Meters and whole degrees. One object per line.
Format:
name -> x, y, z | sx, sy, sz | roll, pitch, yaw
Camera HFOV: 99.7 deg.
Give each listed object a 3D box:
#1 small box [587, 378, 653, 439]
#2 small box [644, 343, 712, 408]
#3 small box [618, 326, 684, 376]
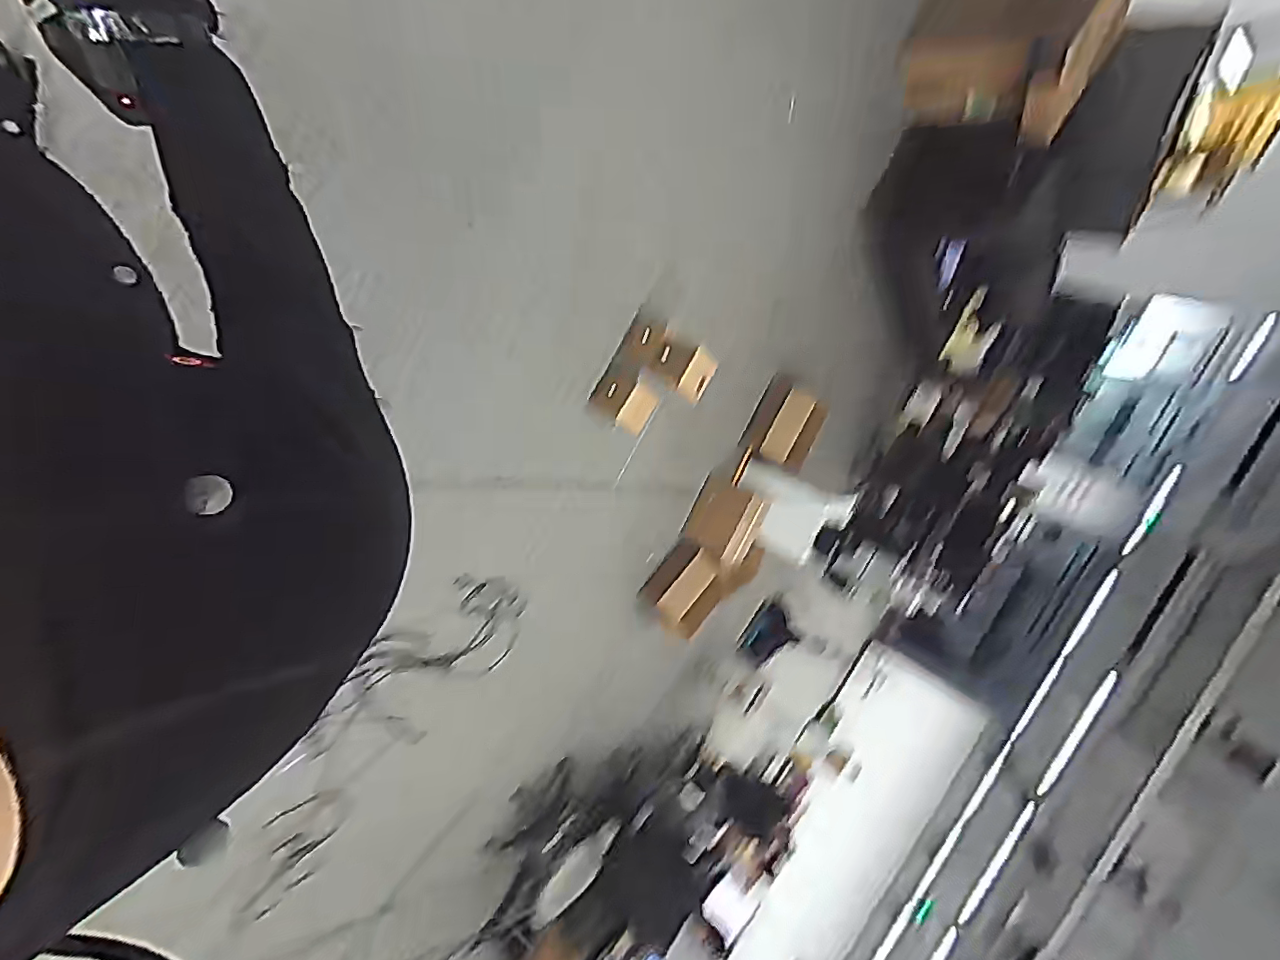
small box -> -0.083, -0.295, 2.188 | 0.168, 0.176, 0.179 | -57, 146, -3
small box -> 0.147, -0.409, 2.105 | 0.168, 0.176, 0.179 | -60, 146, 0
small box -> 0.041, -0.509, 2.190 | 0.179, 0.176, 0.168 | 18, 100, -56
